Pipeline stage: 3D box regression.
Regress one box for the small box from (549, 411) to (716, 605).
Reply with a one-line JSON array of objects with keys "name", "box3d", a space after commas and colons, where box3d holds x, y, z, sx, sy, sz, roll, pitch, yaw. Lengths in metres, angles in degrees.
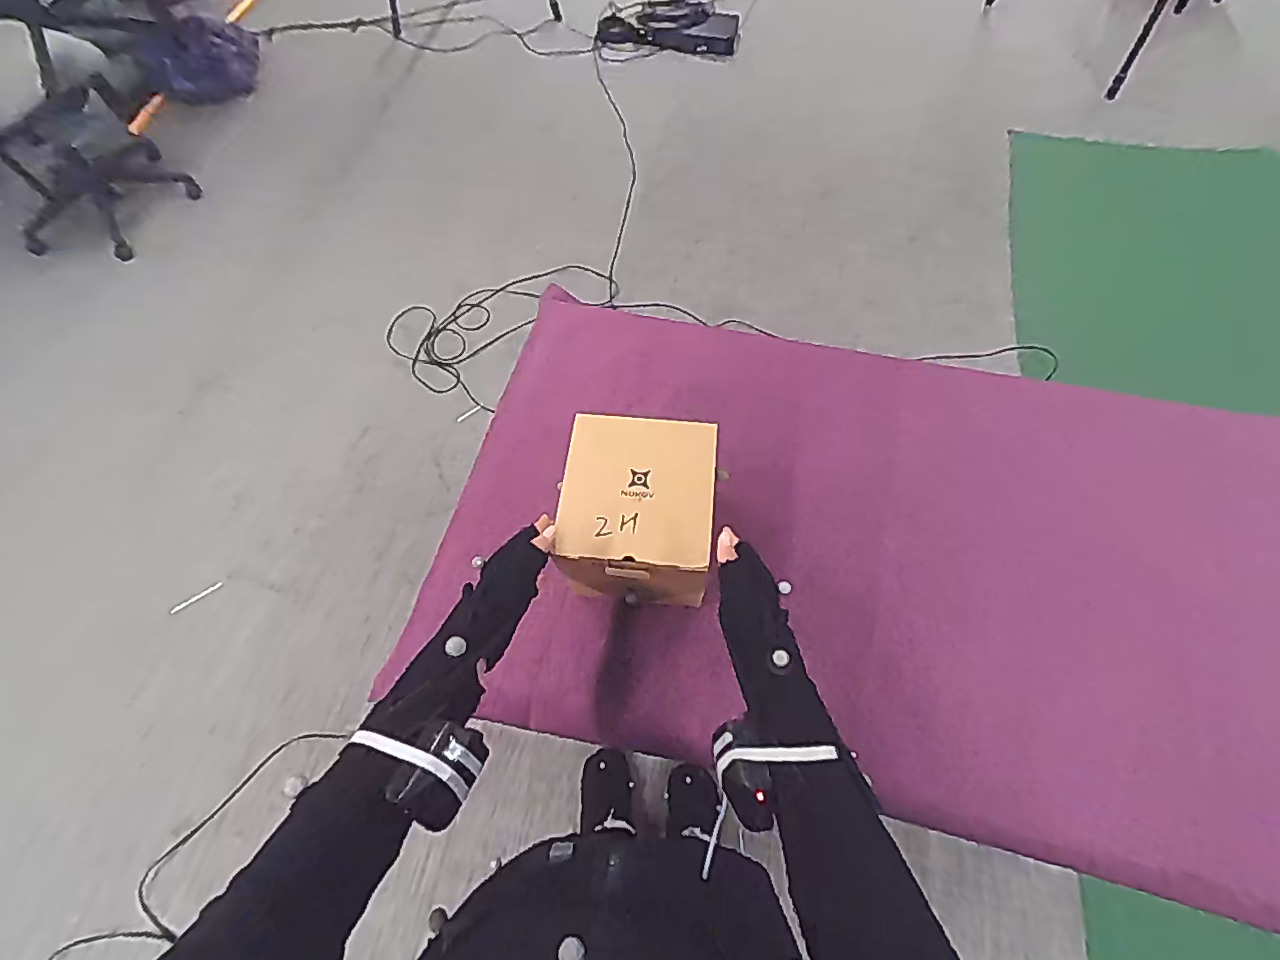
[{"name": "small box", "box3d": [-0.001, 0.039, 0.656, 0.168, 0.176, 0.179, 5, 65, 6]}]
